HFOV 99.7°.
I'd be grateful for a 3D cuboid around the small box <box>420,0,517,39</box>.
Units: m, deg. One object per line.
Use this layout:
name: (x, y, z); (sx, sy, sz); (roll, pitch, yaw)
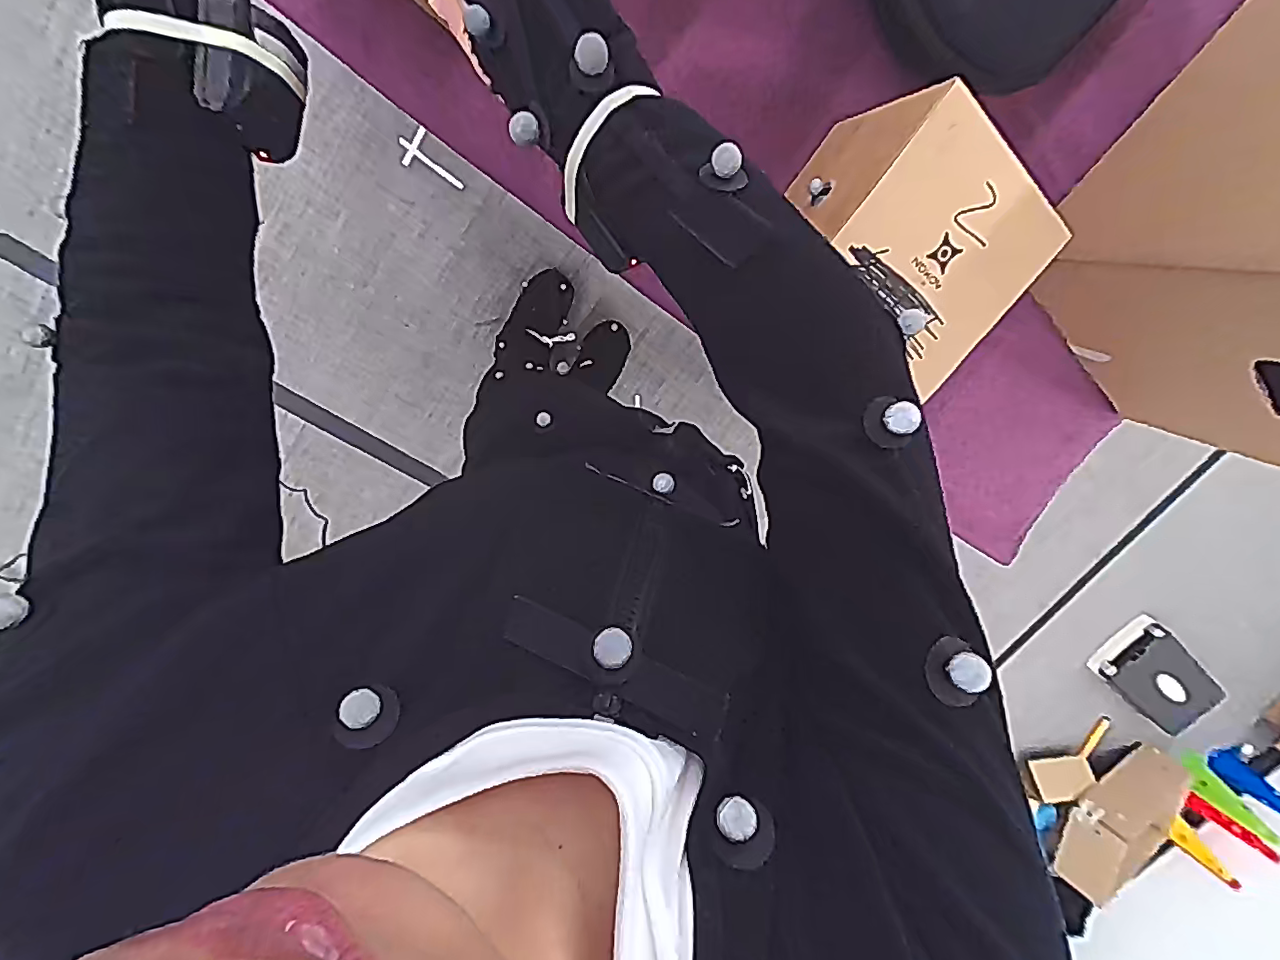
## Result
small box: (-0.136, -0.424, 0.327); (0.179, 0.176, 0.168); (29, 105, -22)
